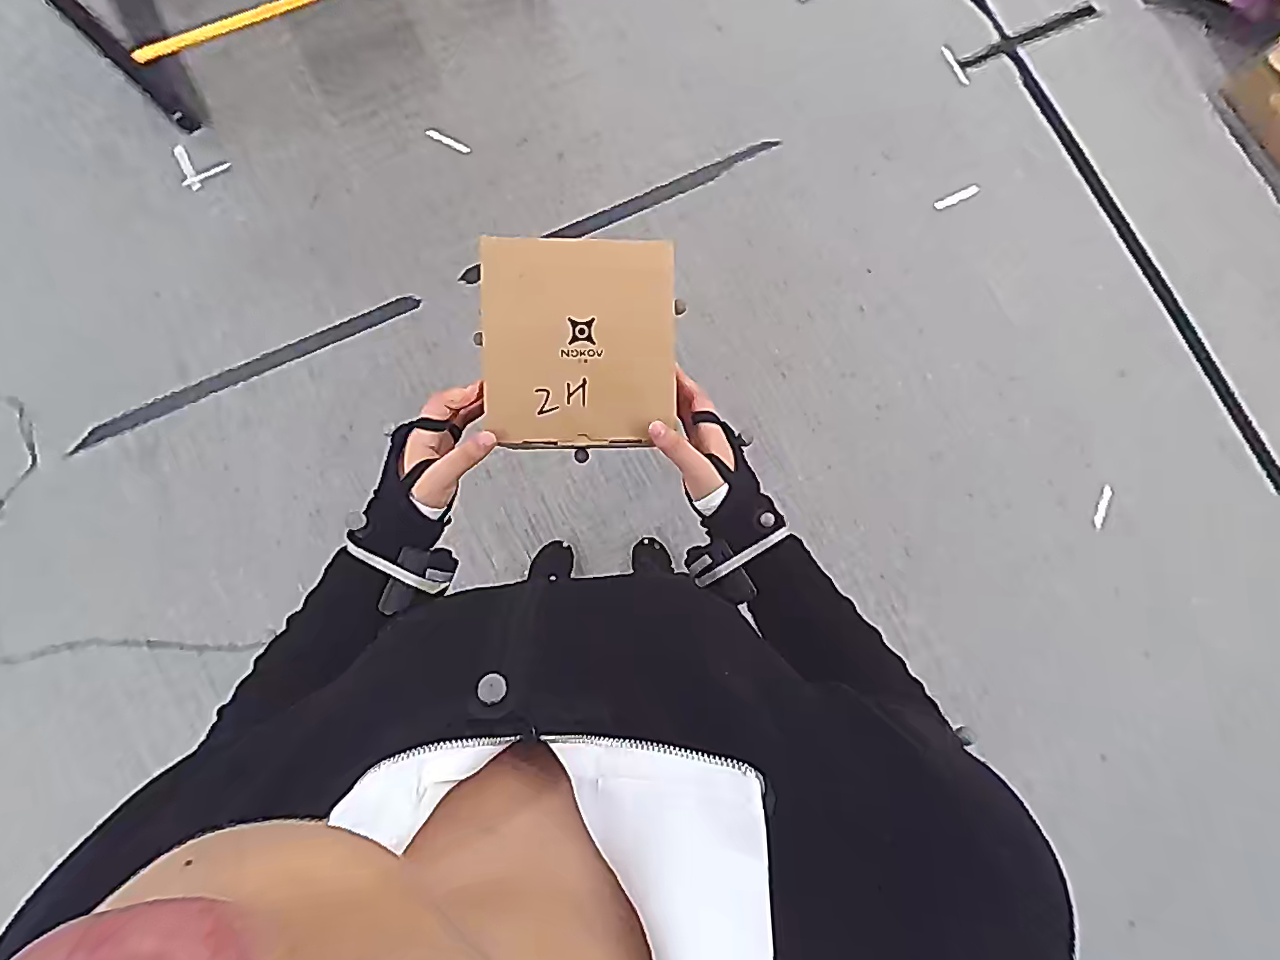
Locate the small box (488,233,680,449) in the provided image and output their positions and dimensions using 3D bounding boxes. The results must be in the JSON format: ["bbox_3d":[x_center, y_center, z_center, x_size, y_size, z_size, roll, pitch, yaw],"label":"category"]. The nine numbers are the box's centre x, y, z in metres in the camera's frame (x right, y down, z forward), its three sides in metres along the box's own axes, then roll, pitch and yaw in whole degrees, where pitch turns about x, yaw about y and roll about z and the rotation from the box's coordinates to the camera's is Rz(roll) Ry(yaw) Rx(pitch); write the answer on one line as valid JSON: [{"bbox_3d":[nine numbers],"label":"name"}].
[{"bbox_3d":[-0.056,-0.122,0.541,0.168,0.176,0.179,-1,92,-6],"label":"small box"}]
